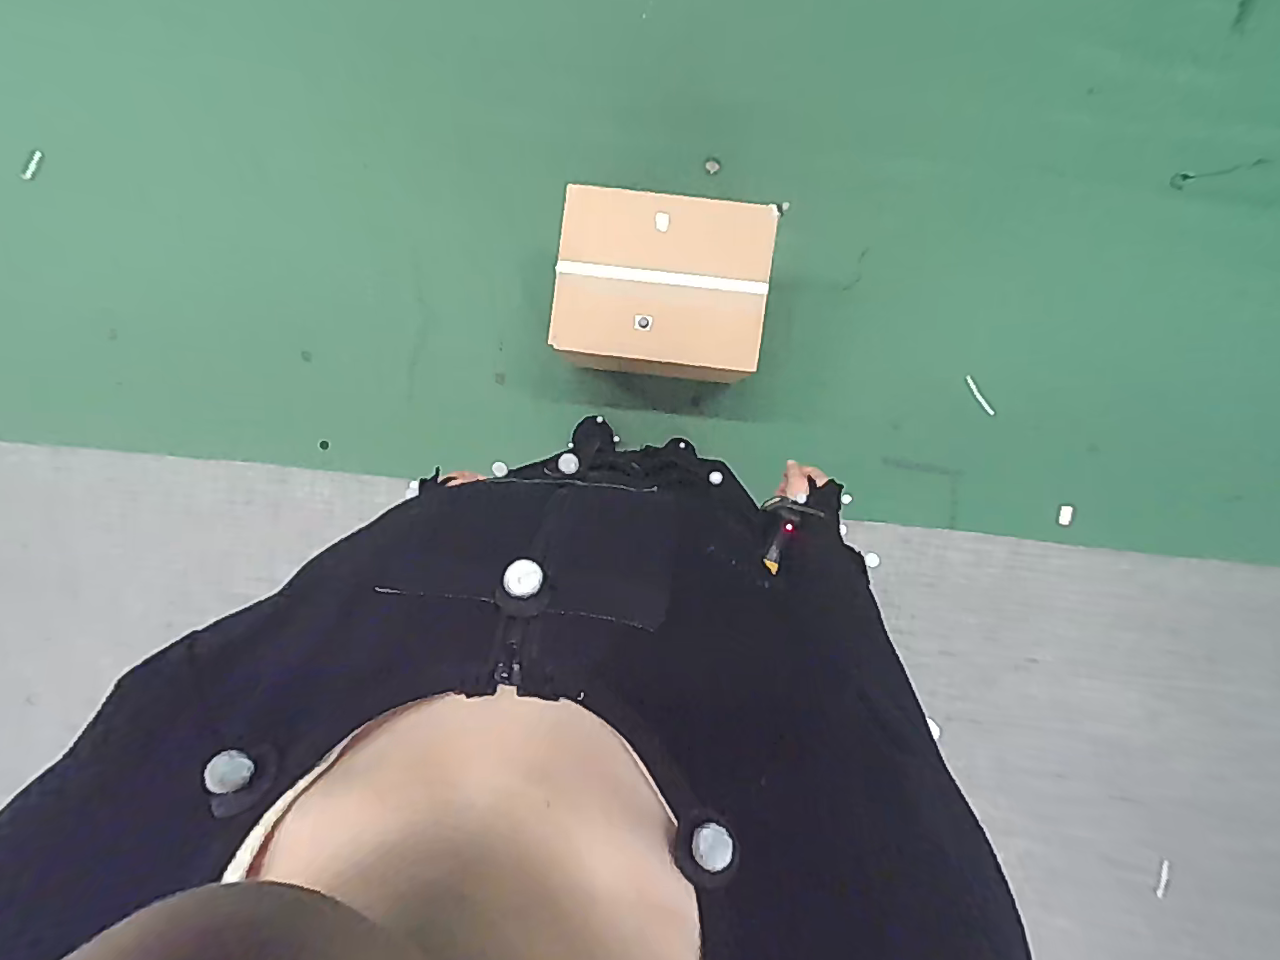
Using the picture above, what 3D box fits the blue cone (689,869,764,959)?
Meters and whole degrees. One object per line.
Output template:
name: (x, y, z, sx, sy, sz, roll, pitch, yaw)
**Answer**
blue cone: (0.225, 1.138, 1.271, 0.192, 0.380, 0.193, 6, 95, 1)
